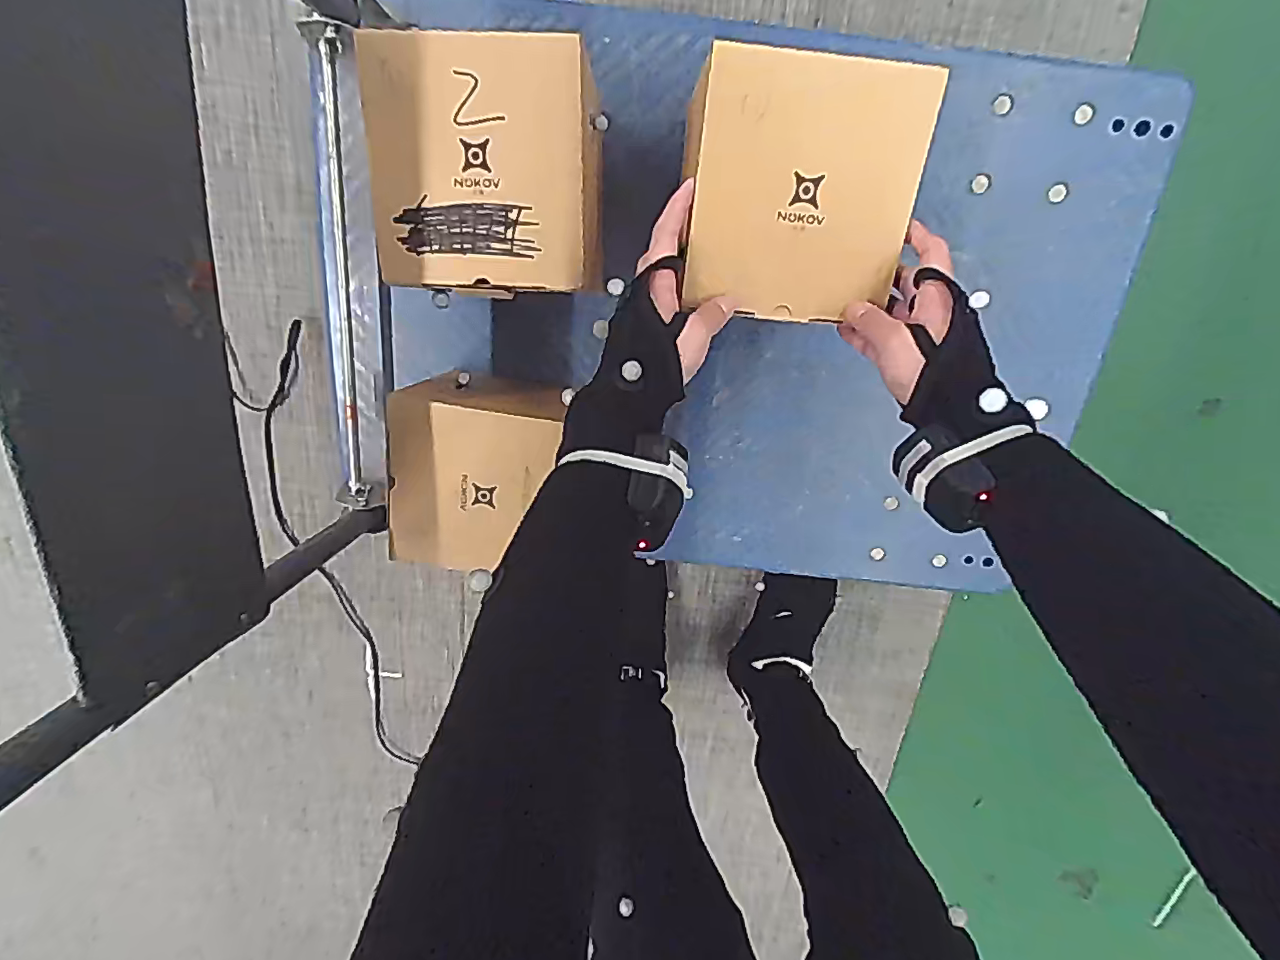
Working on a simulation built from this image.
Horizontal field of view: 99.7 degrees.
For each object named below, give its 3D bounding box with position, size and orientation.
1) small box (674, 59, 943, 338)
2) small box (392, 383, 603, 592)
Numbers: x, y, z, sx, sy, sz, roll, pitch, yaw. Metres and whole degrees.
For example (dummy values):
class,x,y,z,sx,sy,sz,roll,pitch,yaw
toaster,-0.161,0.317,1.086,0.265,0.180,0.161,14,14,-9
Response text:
class,x,y,z,sx,sy,sz,roll,pitch,yaw
small box,0.124,-0.234,0.480,0.168,0.176,0.179,5,114,-2
small box,-0.142,-0.003,0.581,0.179,0.176,0.168,9,109,-2
